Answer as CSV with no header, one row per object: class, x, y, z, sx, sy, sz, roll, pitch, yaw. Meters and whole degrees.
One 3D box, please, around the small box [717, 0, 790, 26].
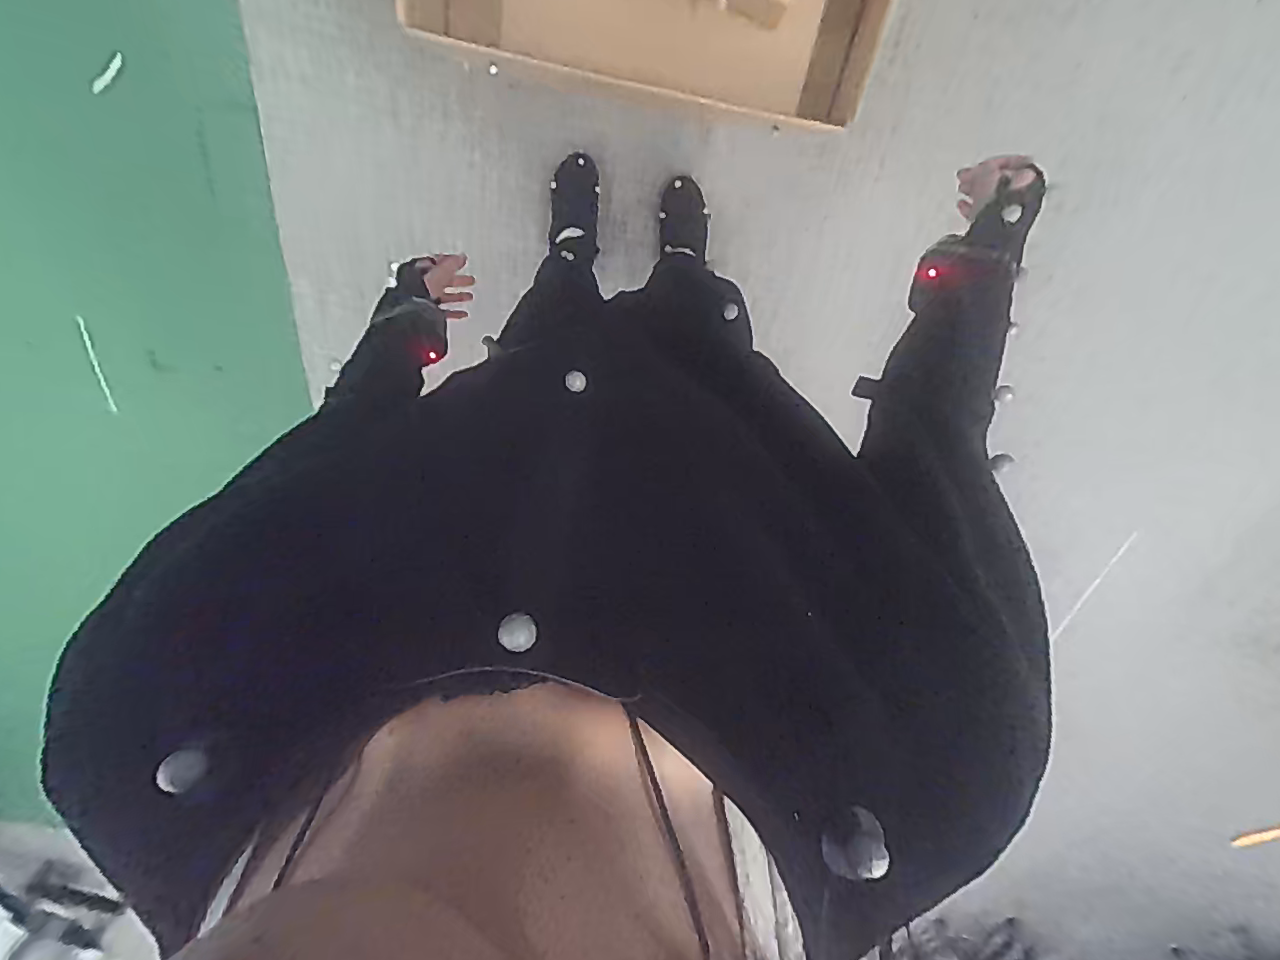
small box,0.137,-0.687,0.644,0.168,0.176,0.179,21,122,-8
